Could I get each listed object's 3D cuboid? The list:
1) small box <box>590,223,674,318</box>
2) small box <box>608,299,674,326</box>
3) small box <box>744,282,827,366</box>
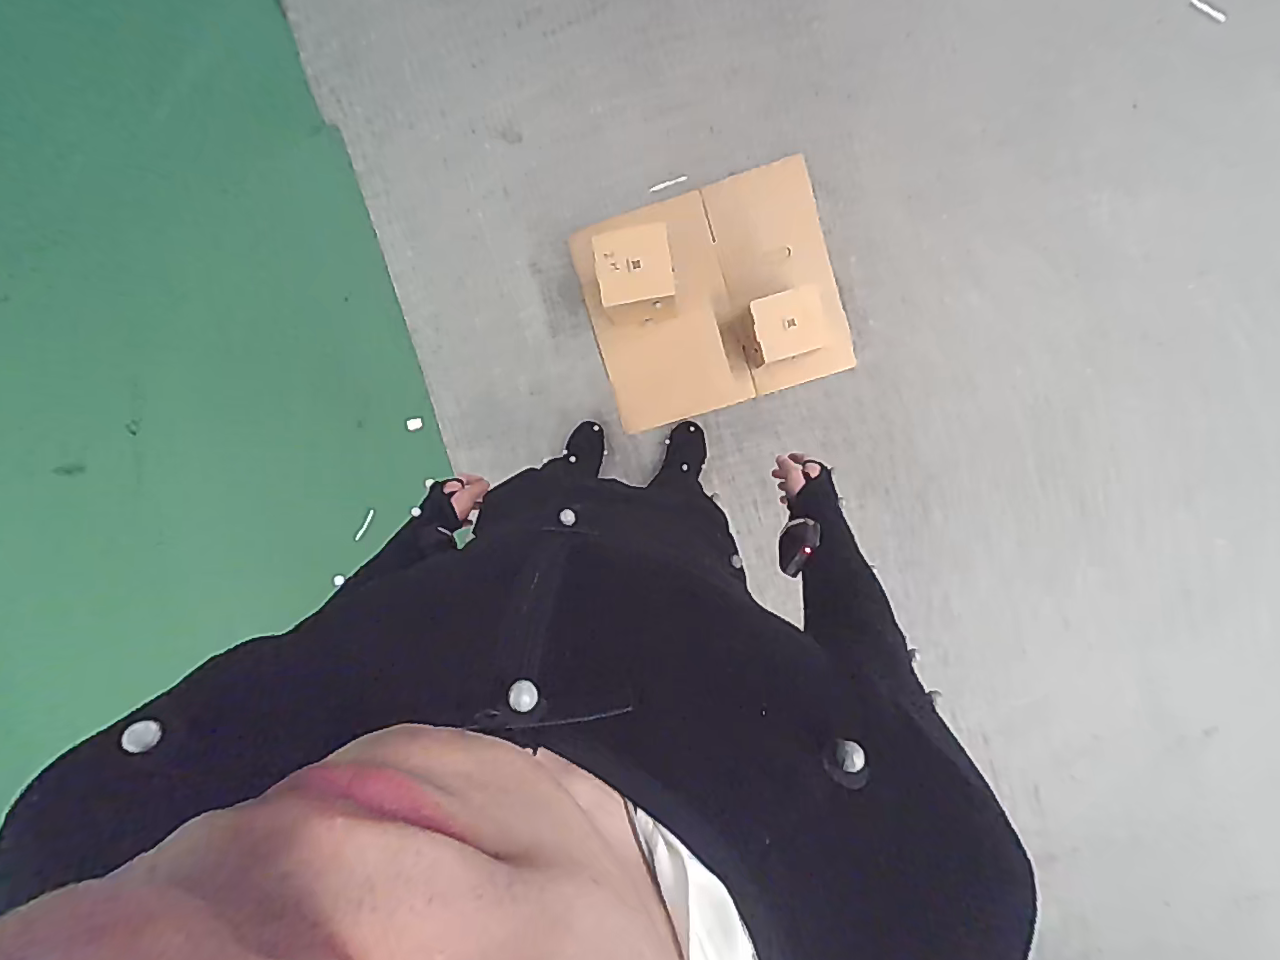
[{"bbox_3d":[-0.013,-0.502,1.316,0.179,0.176,0.168,-8,96,6],"label":"small box"},{"bbox_3d":[-0.004,-0.528,1.480,0.179,0.176,0.168,-8,96,6],"label":"small box"},{"bbox_3d":[0.384,-0.413,1.463,0.179,0.176,0.168,-15,96,7],"label":"small box"}]
